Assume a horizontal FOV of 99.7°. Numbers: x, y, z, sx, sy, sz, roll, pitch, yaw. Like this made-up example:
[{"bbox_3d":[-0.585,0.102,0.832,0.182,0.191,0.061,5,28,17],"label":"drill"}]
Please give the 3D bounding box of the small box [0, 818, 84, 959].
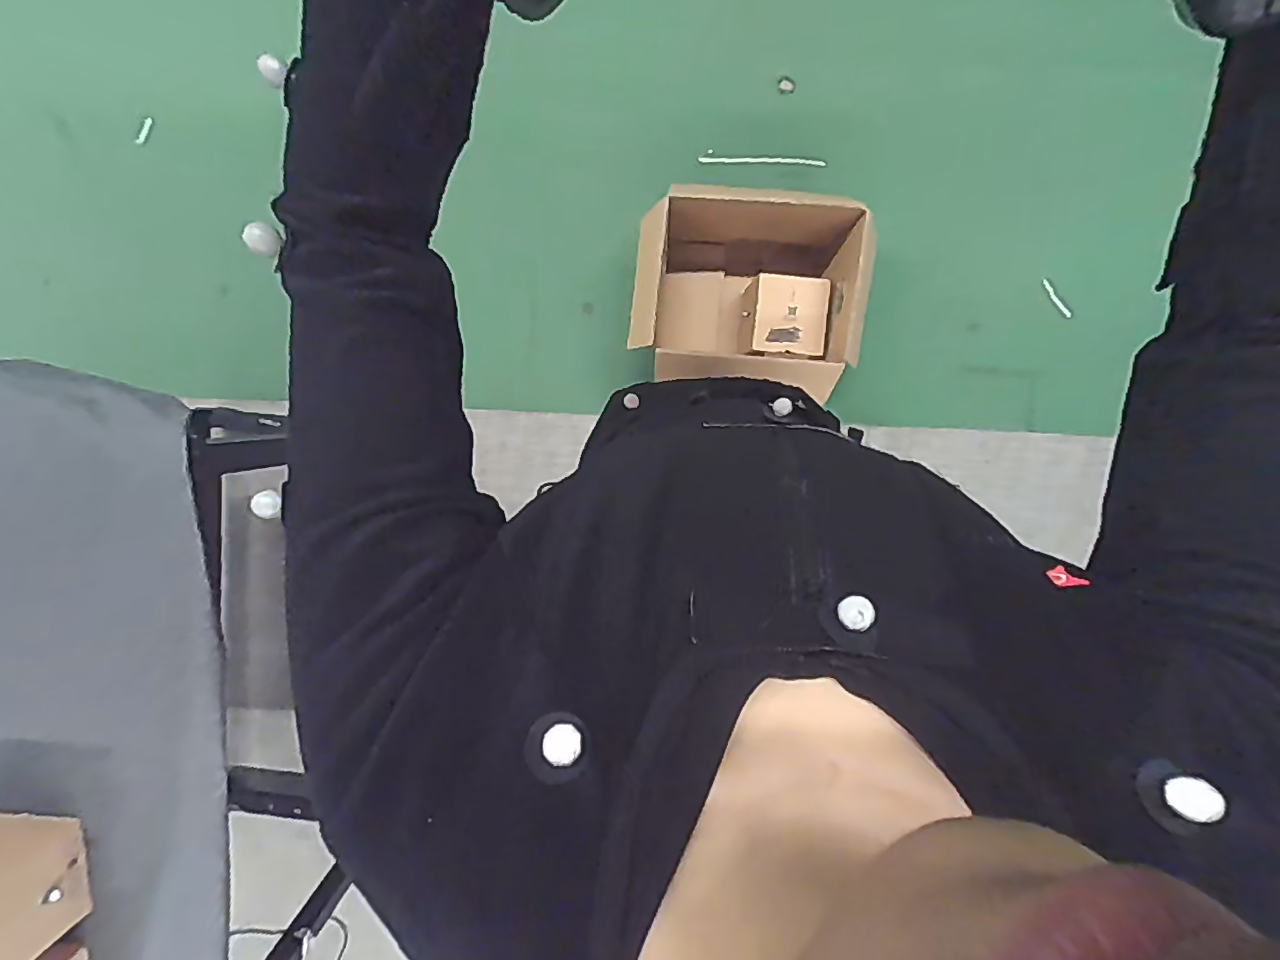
[{"bbox_3d":[-0.972,0.620,0.777,0.179,0.176,0.168,2,97,2],"label":"small box"}]
